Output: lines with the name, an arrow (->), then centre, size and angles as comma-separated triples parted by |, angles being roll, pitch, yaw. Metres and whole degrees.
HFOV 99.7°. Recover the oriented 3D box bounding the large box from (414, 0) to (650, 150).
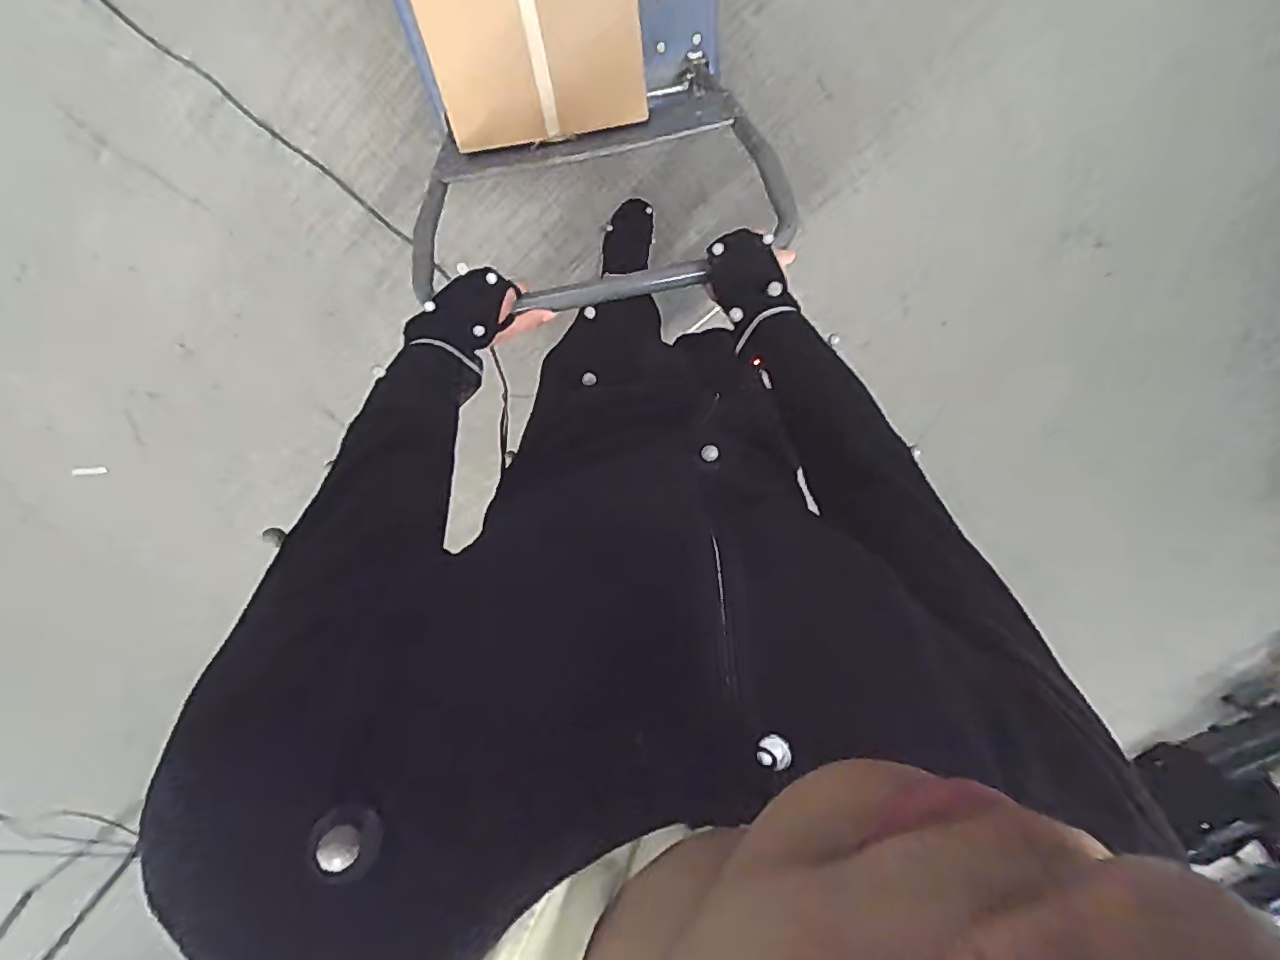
large box -> -0.177, -0.801, 0.839 | 0.320, 0.320, 0.408 | -10, 135, 1
